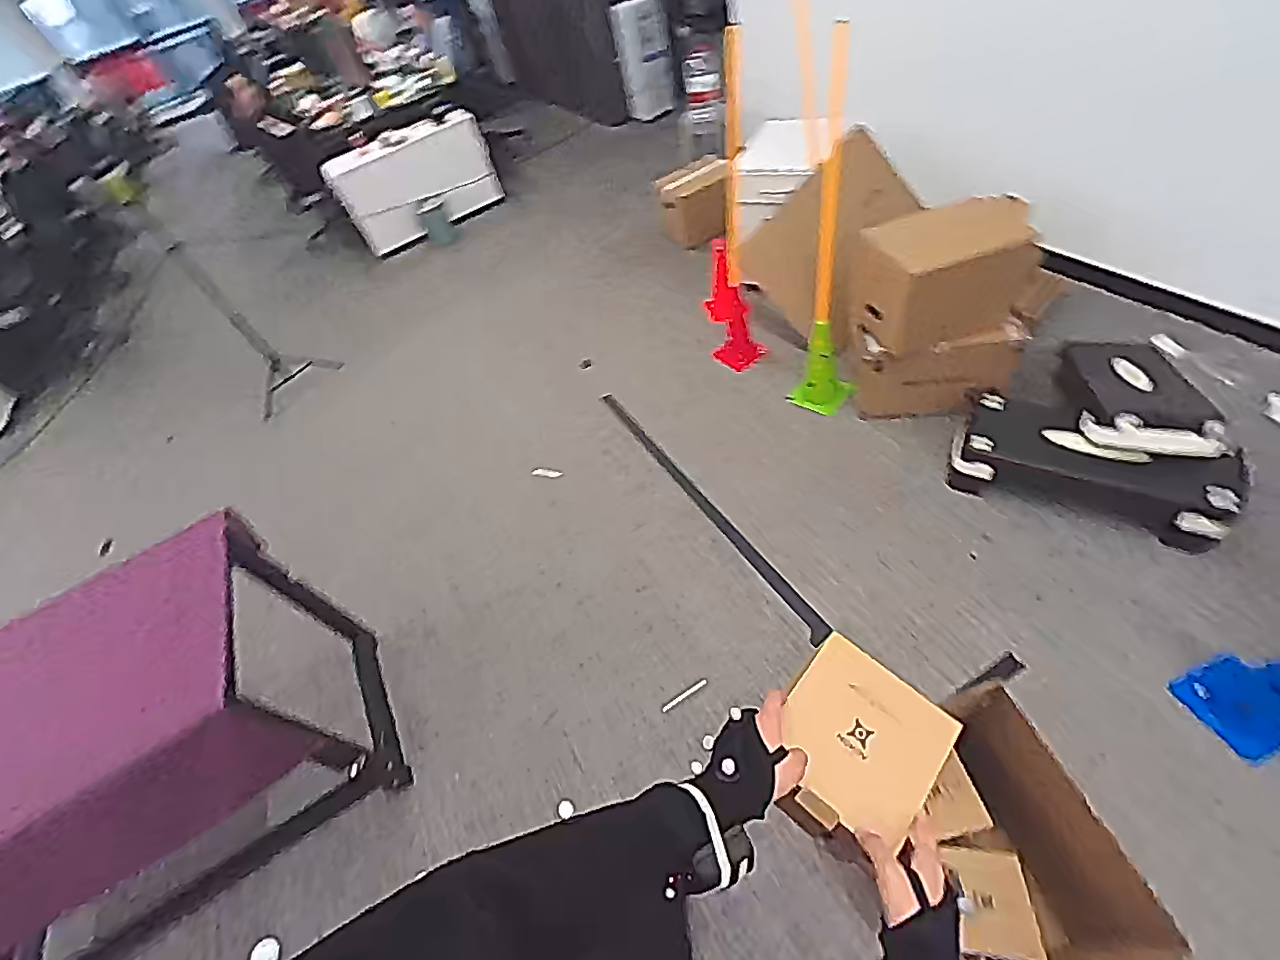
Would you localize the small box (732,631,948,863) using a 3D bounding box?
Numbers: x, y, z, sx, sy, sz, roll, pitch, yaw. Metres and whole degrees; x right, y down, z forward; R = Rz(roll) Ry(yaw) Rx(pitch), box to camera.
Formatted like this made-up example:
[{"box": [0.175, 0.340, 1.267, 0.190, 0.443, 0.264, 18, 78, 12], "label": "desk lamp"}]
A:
[{"box": [0.227, 0.325, 0.661, 0.168, 0.176, 0.179, 36, 63, 21], "label": "small box"}]
